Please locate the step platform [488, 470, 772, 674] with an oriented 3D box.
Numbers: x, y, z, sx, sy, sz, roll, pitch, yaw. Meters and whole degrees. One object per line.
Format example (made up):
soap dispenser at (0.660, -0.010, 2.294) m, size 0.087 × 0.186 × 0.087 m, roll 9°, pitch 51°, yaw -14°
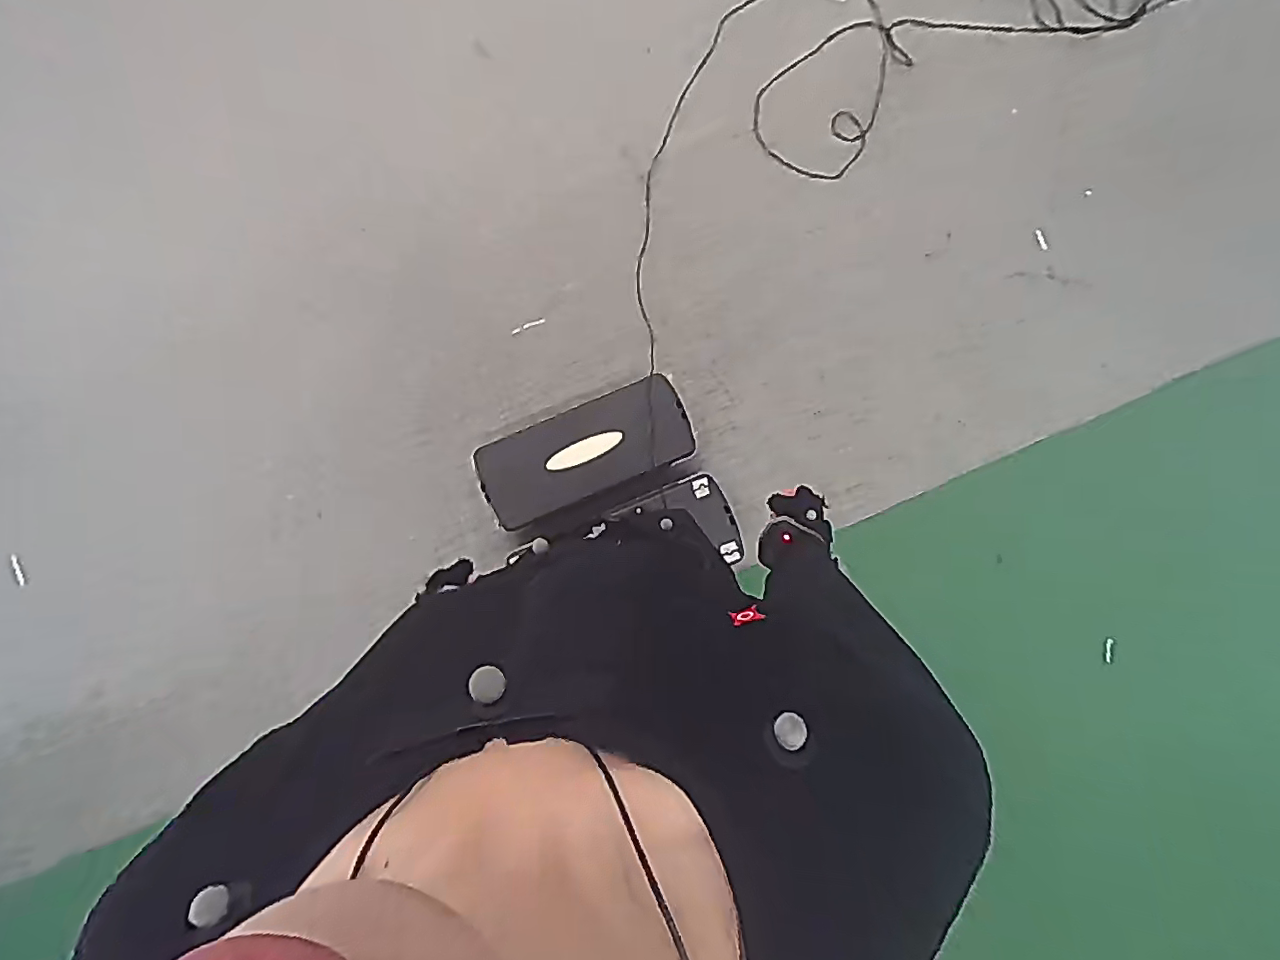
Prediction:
step platform at (-0.023, 0.228, 1.399) m, size 0.684 × 0.204 × 0.286 m, roll -23°, pitch 87°, yaw -3°
